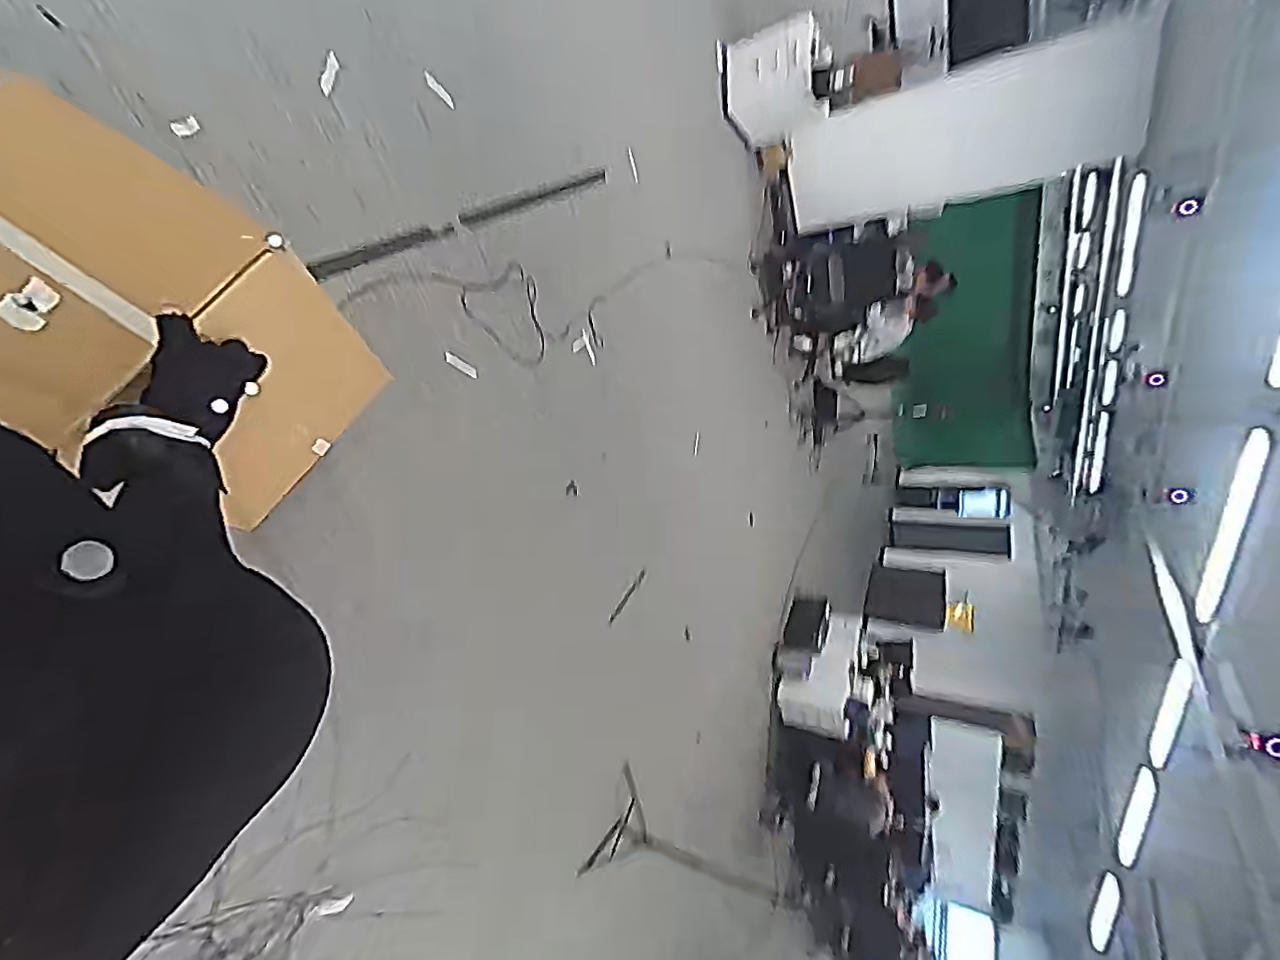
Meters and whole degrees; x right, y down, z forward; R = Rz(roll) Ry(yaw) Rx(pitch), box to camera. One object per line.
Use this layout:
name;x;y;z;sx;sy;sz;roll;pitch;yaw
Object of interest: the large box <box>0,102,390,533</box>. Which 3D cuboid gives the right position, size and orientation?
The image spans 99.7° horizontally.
large box;-0.639;-0.187;0.721;0.320;0.408;0.320;-55;173;-16
